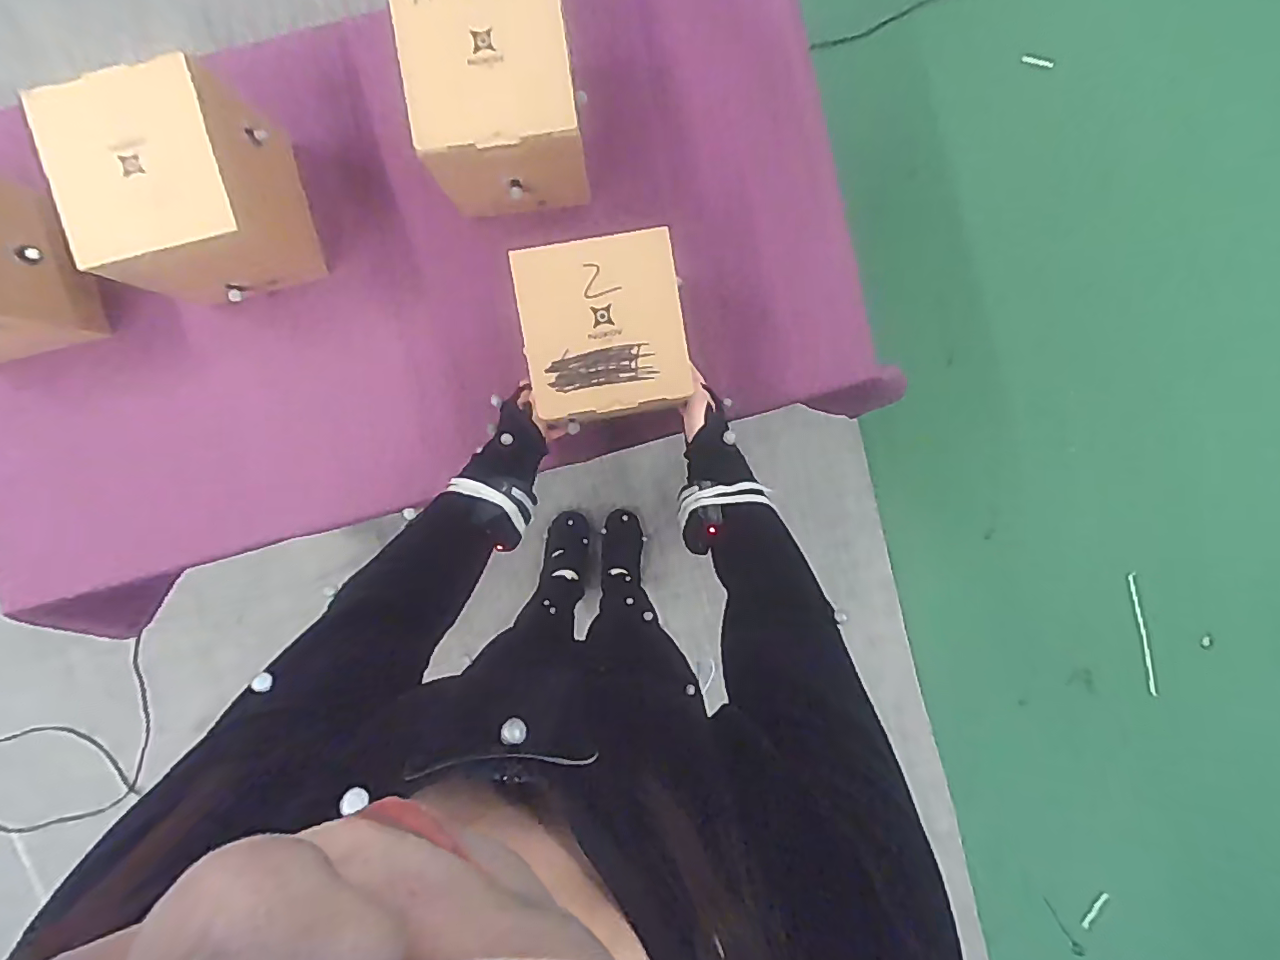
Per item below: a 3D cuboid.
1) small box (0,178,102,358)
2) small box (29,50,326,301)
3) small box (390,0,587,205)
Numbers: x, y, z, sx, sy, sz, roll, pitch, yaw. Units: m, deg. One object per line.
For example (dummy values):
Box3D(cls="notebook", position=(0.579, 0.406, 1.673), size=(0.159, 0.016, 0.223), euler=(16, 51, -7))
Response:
Box3D(cls="small box", position=(-0.774, -0.244, 0.610), size=(0.179, 0.176, 0.168), euler=(-14, 95, 0))
Box3D(cls="small box", position=(-0.497, -0.324, 0.612), size=(0.168, 0.176, 0.179), euler=(-14, 96, 1))
Box3D(cls="small box", position=(-0.156, -0.430, 0.609), size=(0.168, 0.176, 0.179), euler=(-8, 96, -1))
